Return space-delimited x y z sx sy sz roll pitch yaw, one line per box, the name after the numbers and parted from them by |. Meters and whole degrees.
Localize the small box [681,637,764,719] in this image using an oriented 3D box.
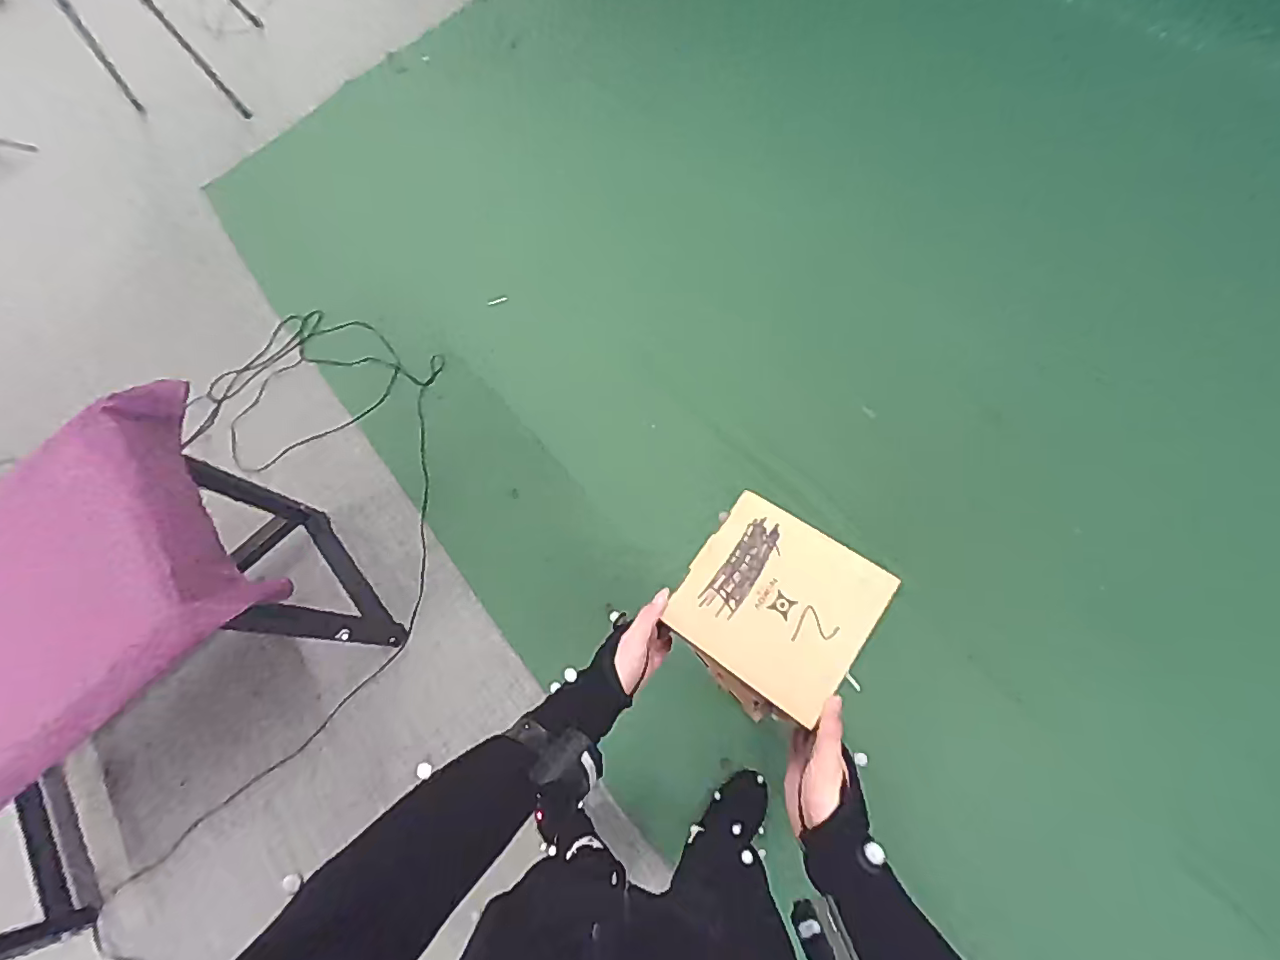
0.196 0.276 0.909 0.179 0.176 0.168 -42 66 -5 | small box

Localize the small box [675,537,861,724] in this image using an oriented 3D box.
0.176 0.212 0.759 0.179 0.176 0.168 37 79 23 | small box
